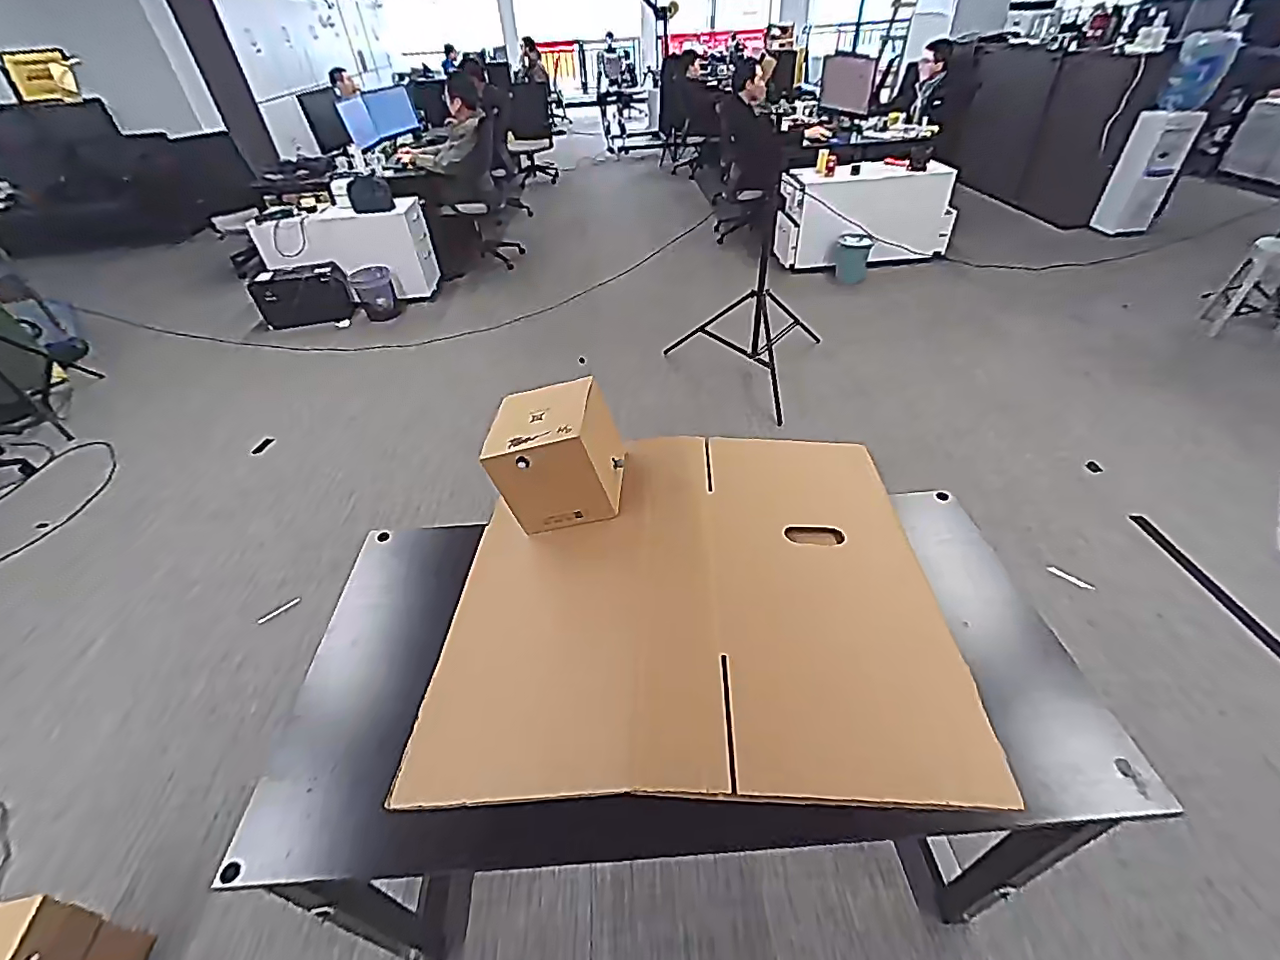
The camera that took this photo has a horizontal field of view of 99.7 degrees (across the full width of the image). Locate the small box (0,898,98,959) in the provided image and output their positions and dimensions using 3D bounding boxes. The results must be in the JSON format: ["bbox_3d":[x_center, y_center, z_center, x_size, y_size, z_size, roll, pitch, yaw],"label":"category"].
[{"bbox_3d":[-1.169,0.907,0.988,0.168,0.176,0.179,-8,40,-6],"label":"small box"}]

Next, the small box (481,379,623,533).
[{"bbox_3d":[-0.133,-0.038,0.899,0.168,0.176,0.179,-13,38,13],"label":"small box"}]

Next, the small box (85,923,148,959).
[{"bbox_3d":[-1.158,1.034,1.089,0.168,0.176,0.179,-7,41,-3],"label":"small box"}]
